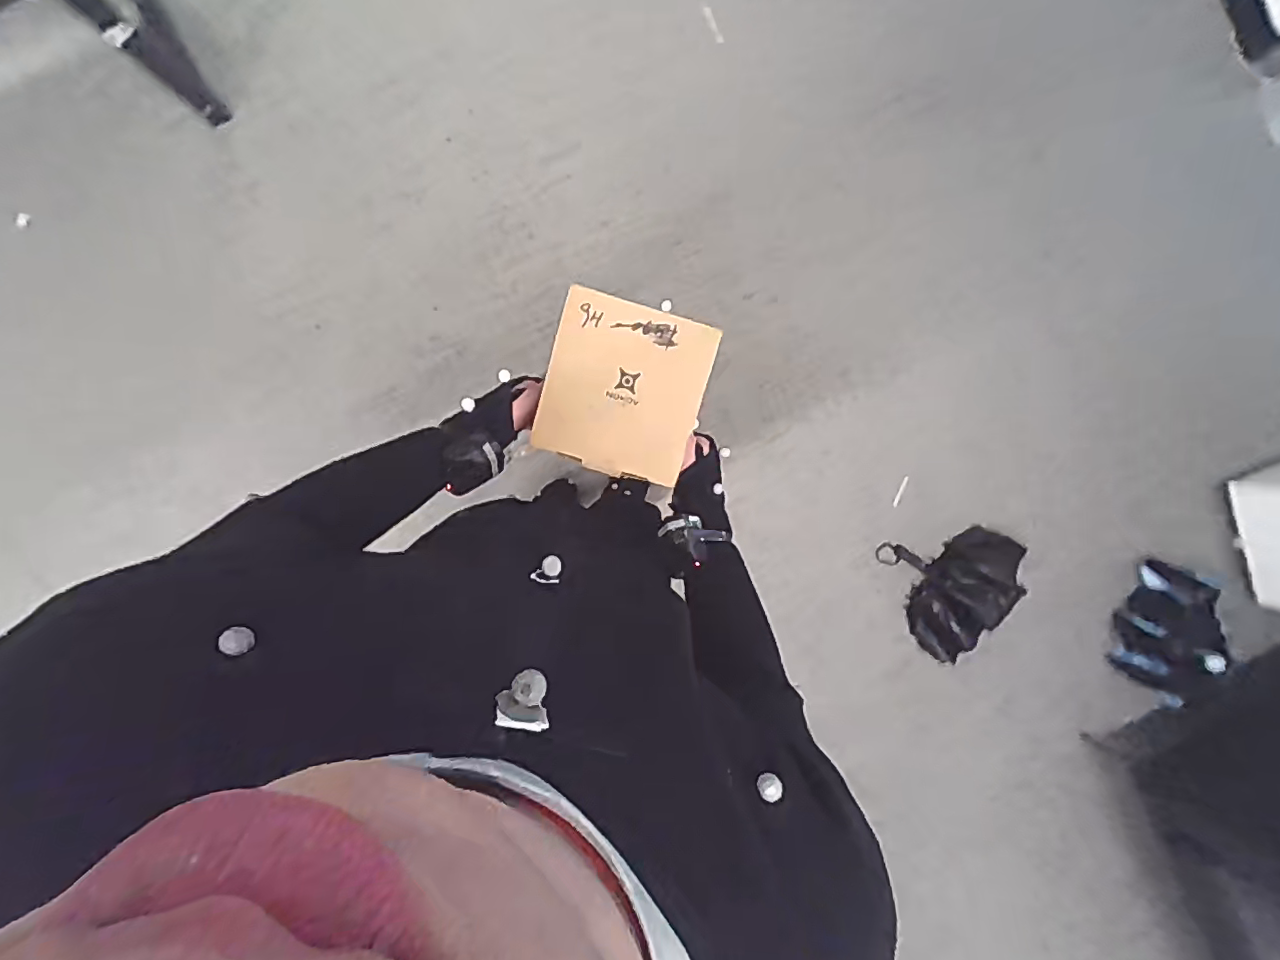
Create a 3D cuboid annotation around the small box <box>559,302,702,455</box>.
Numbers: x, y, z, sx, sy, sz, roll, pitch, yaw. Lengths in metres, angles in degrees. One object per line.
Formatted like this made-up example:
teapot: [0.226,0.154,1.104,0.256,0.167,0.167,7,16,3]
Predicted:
small box: [-0.014,-0.148,0.812,0.168,0.176,0.179,13,98,-3]
